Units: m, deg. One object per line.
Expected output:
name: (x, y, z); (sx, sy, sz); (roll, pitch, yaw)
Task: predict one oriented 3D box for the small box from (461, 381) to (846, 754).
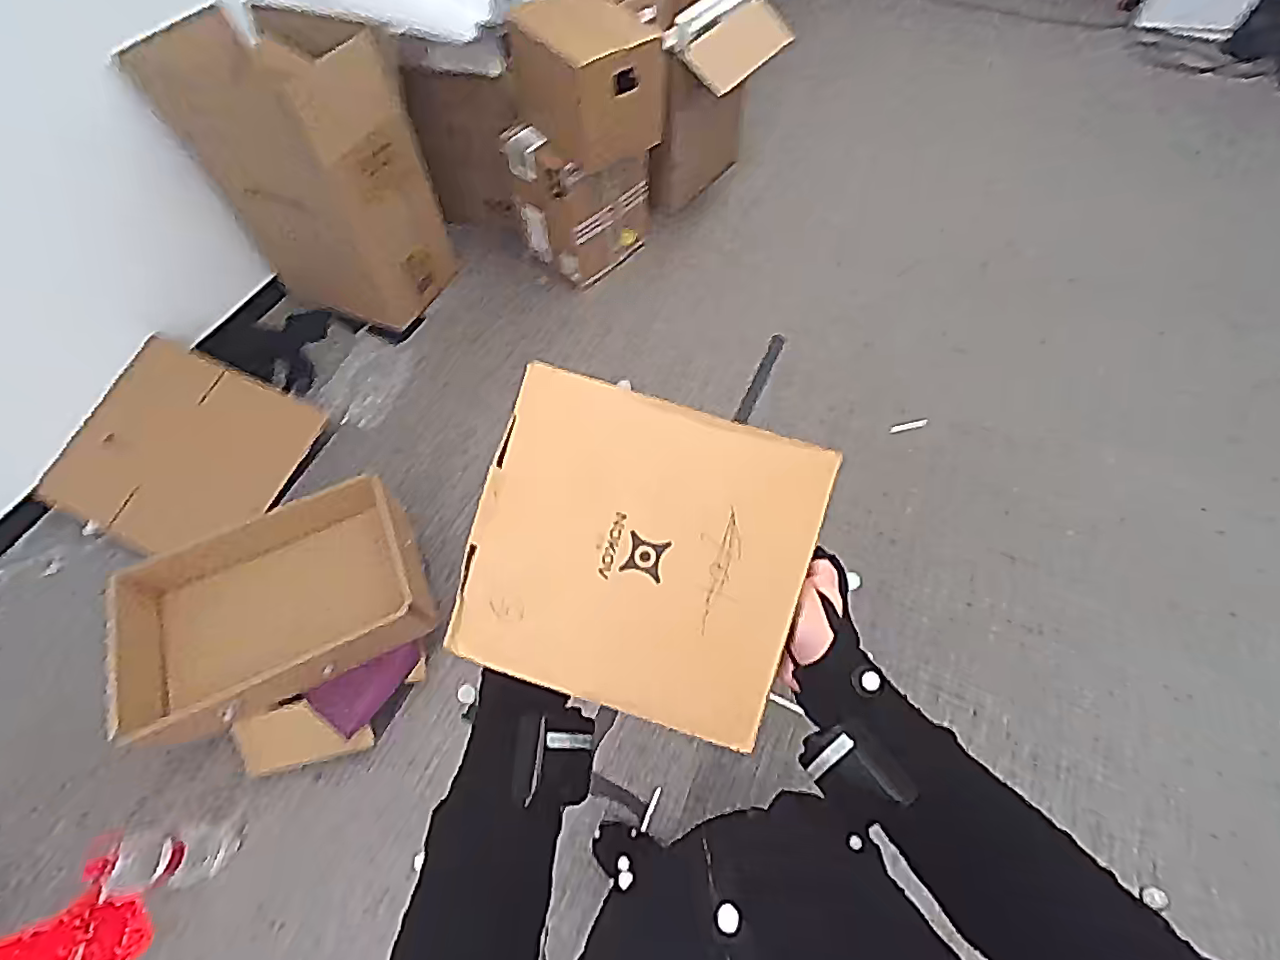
small box: (0.010, 0.048, 0.378); (0.179, 0.176, 0.168); (18, 91, 3)
